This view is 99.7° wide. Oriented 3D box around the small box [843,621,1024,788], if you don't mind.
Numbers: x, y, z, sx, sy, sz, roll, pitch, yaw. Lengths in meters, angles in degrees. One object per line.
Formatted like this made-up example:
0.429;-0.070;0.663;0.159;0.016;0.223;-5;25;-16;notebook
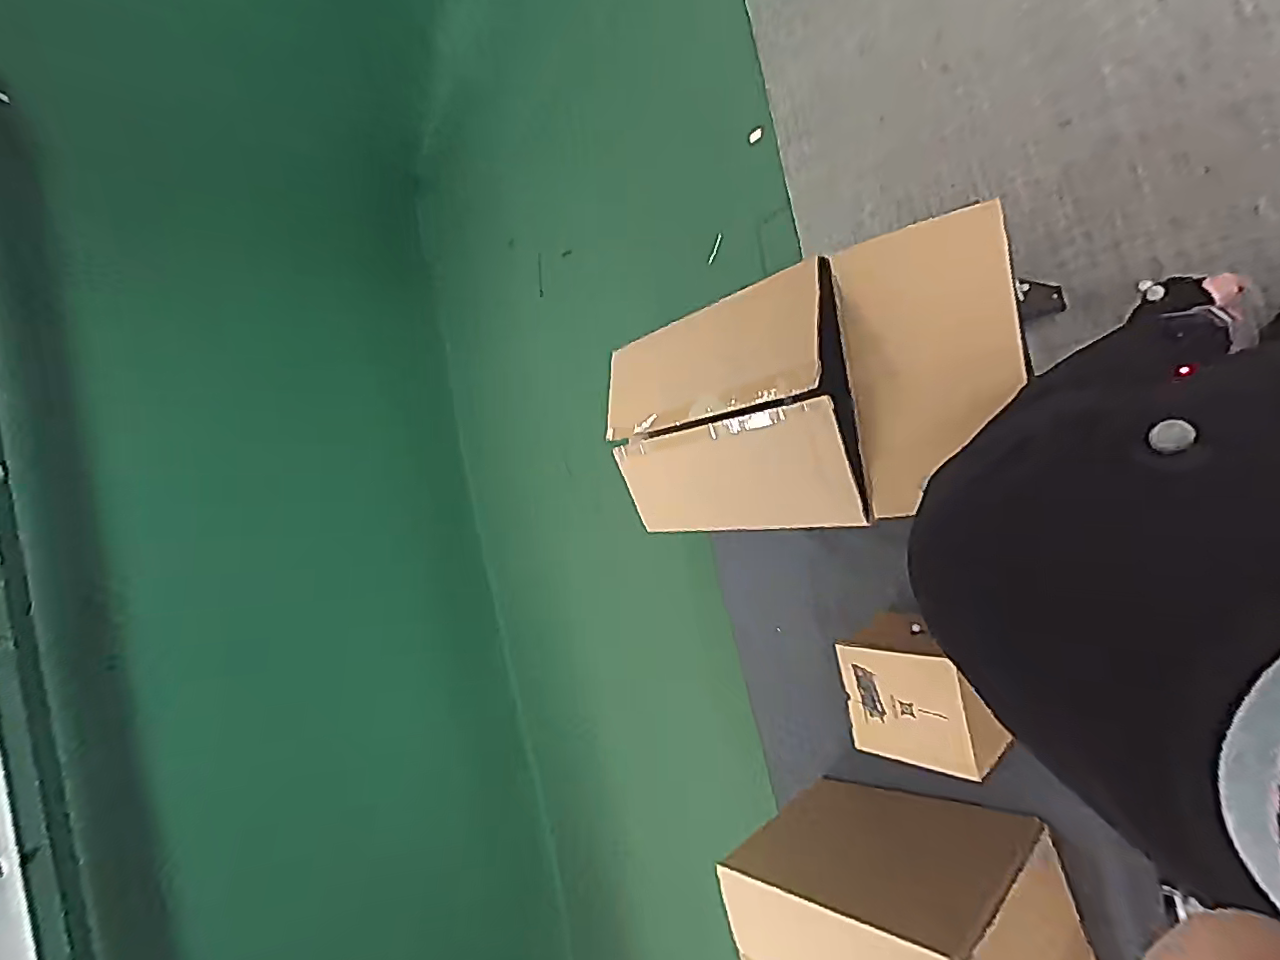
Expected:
0.447;0.325;0.827;0.179;0.176;0.168;-13;90;52;small box
